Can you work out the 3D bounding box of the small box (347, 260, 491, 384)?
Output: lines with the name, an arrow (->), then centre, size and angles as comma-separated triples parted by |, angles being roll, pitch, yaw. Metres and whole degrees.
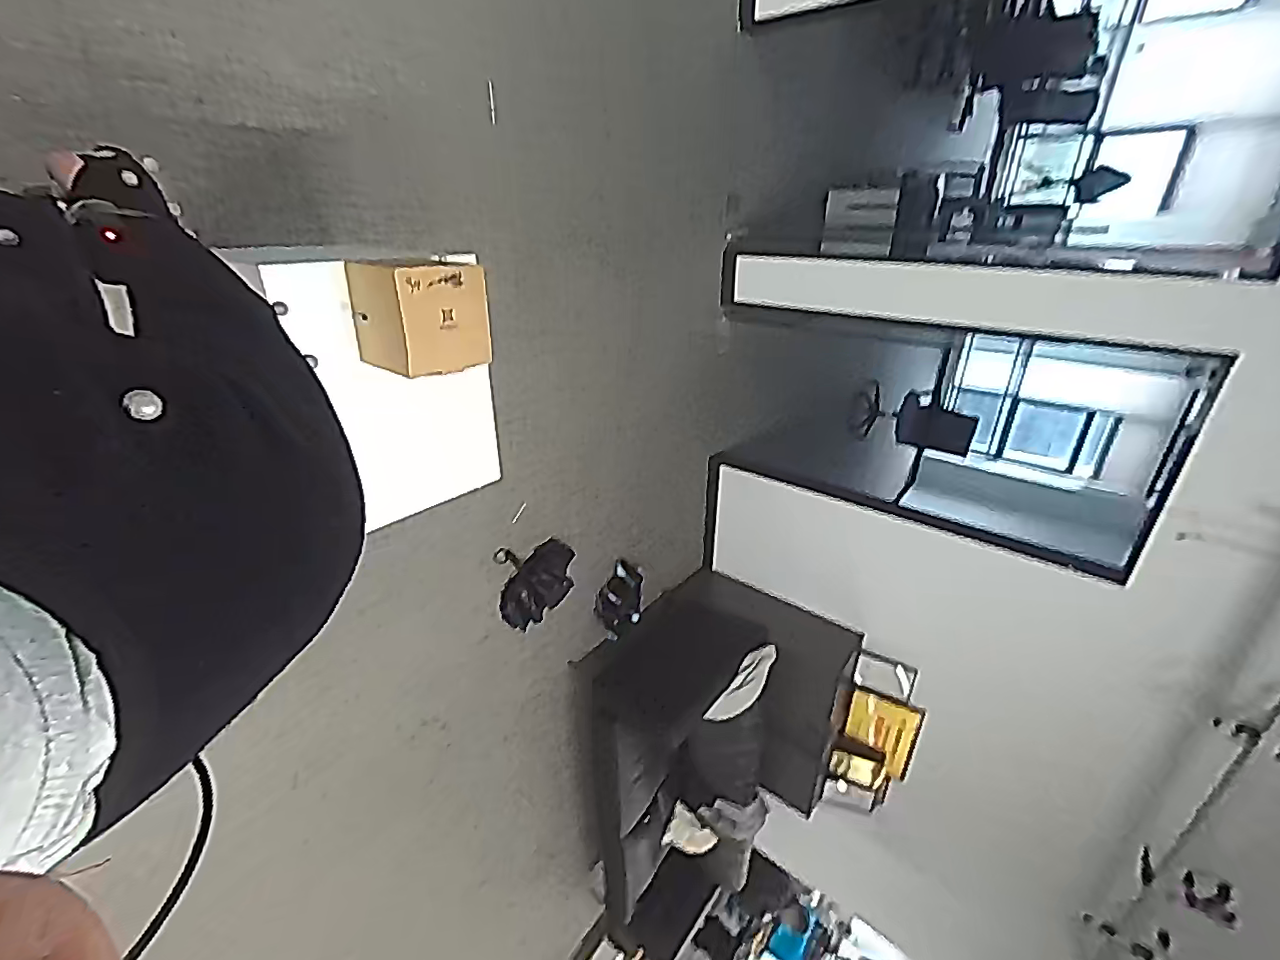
small box -> -0.385, -0.285, 0.952 | 0.168, 0.176, 0.179 | -27, 129, -45
